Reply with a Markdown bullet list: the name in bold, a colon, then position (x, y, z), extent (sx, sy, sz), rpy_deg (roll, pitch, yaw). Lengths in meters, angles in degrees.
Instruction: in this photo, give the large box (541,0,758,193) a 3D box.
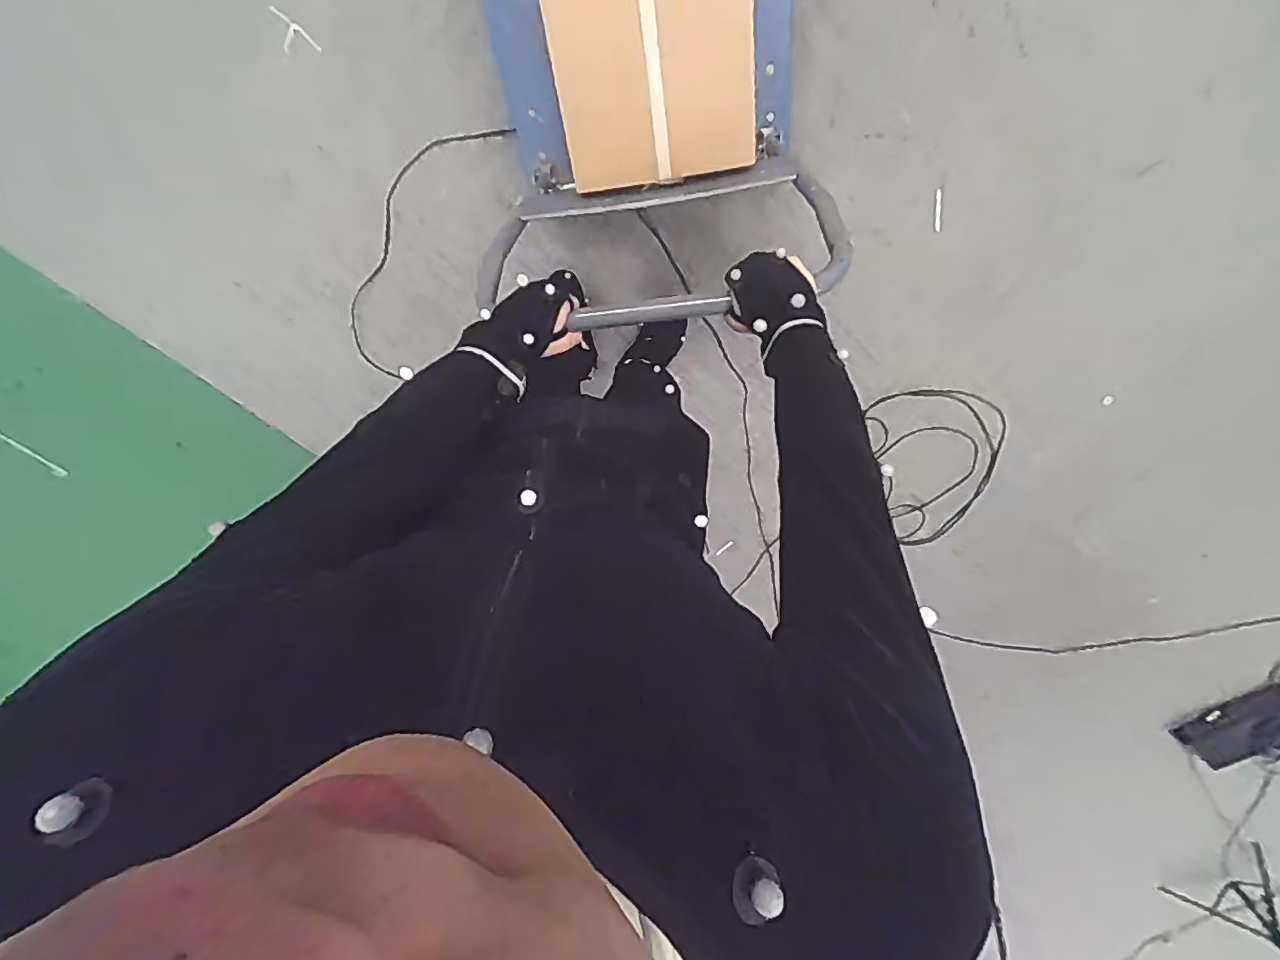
- **large box**: position (0.023, -0.764, 0.938), extent (0.320, 0.320, 0.408), rpy_deg (-6, 125, 7)
